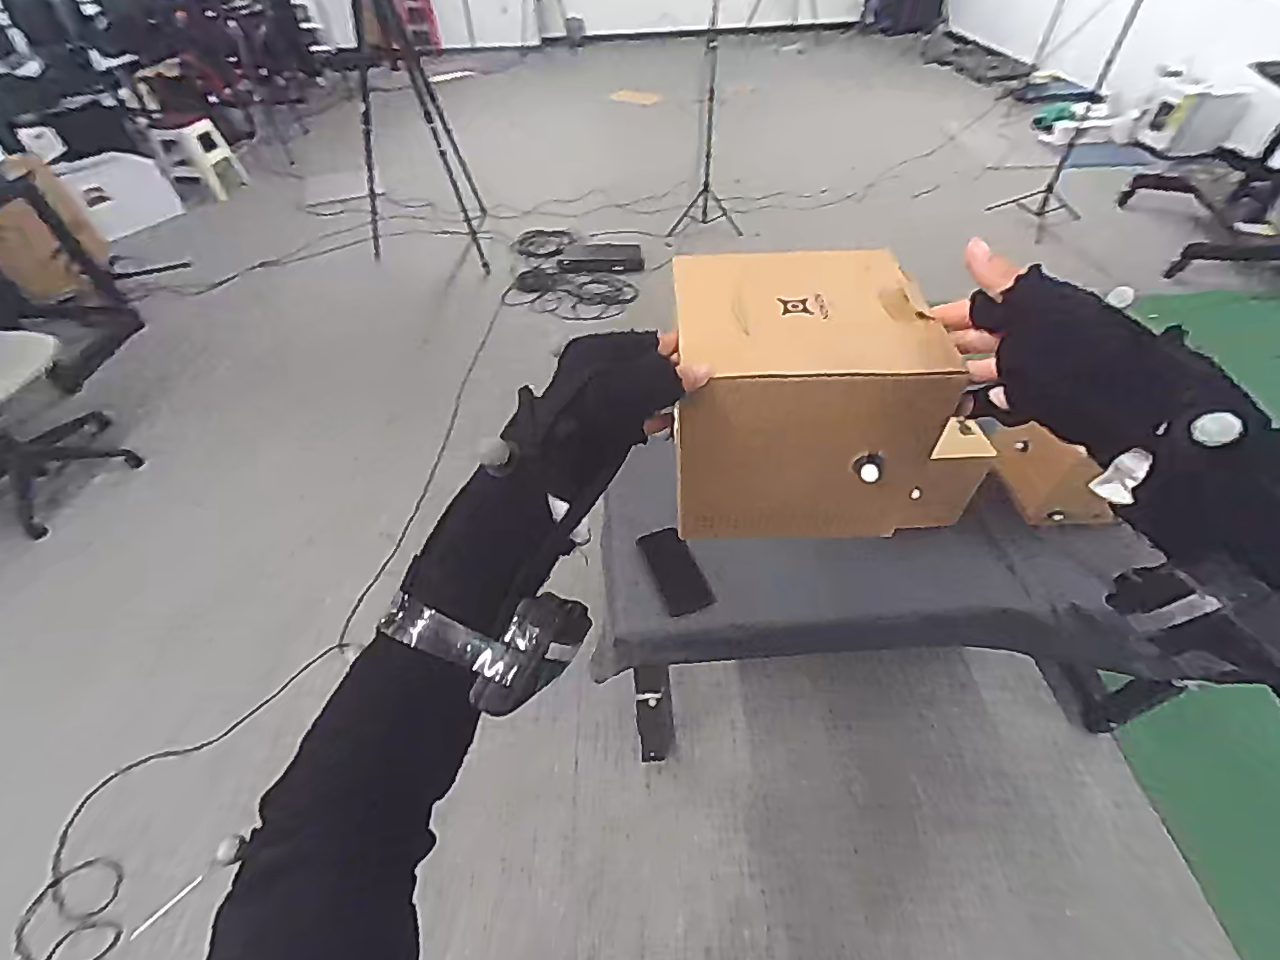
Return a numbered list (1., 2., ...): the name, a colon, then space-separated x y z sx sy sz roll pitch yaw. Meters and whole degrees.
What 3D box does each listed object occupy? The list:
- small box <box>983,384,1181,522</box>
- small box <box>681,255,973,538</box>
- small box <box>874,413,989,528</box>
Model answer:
1. small box: 0.719 -0.041 0.911 0.168 0.176 0.179 -1 47 0
2. small box: 0.124 -0.065 0.446 0.179 0.176 0.168 -2 47 3
3. small box: 0.432 -0.033 0.911 0.179 0.176 0.168 -3 48 -1
